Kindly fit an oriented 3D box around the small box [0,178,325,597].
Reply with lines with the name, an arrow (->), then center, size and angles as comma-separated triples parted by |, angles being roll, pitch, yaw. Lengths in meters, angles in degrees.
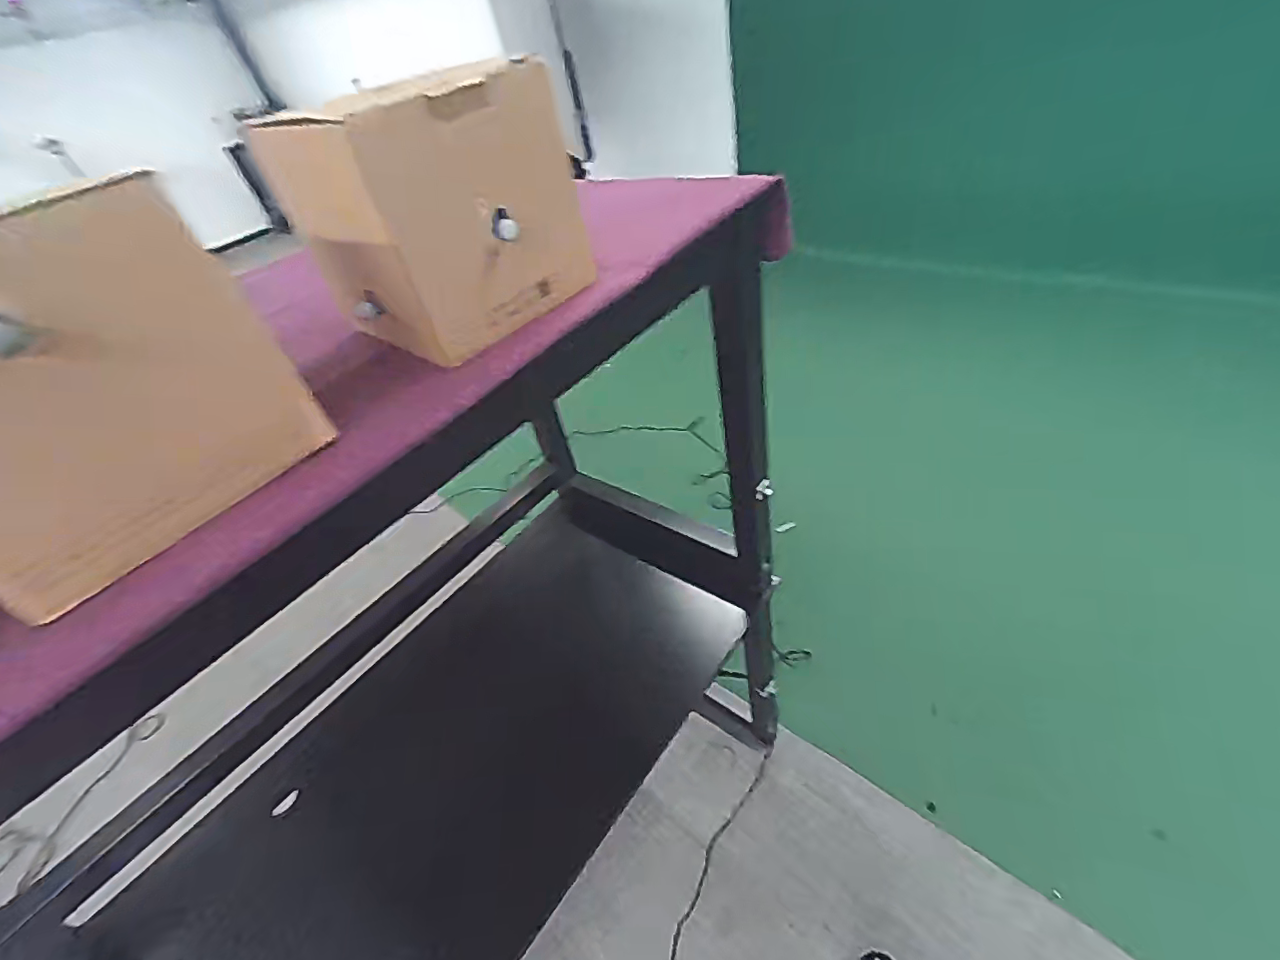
small box -> -0.333, -0.066, 0.332 | 0.168, 0.176, 0.179 | 21, 53, 35
